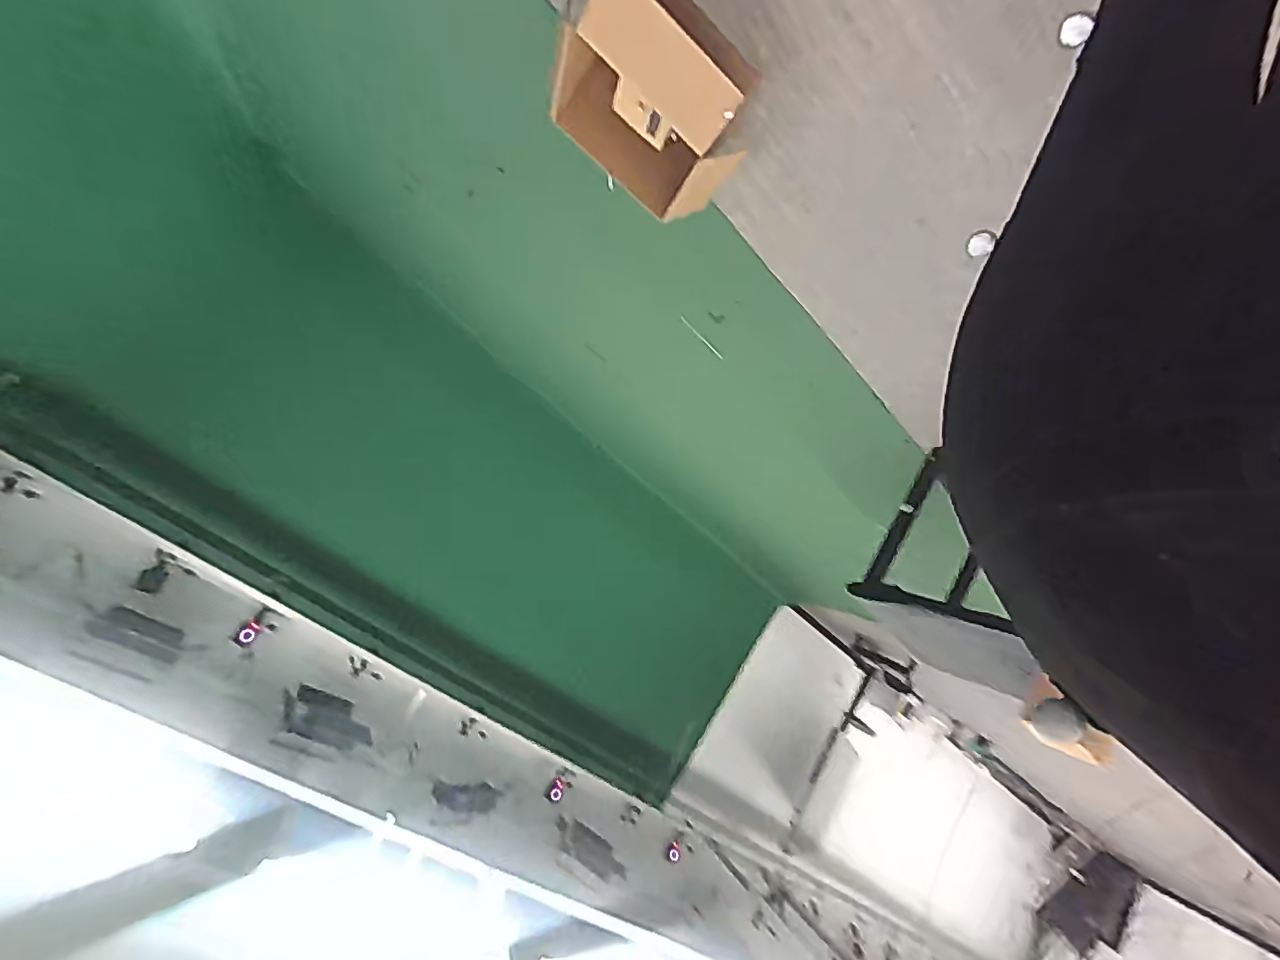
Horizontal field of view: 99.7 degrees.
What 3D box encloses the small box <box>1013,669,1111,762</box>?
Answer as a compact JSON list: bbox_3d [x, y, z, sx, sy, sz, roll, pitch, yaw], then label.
[{"bbox_3d":[1.276,0.704,1.629,0.179,0.176,0.168,42,164,-25],"label":"small box"}]
